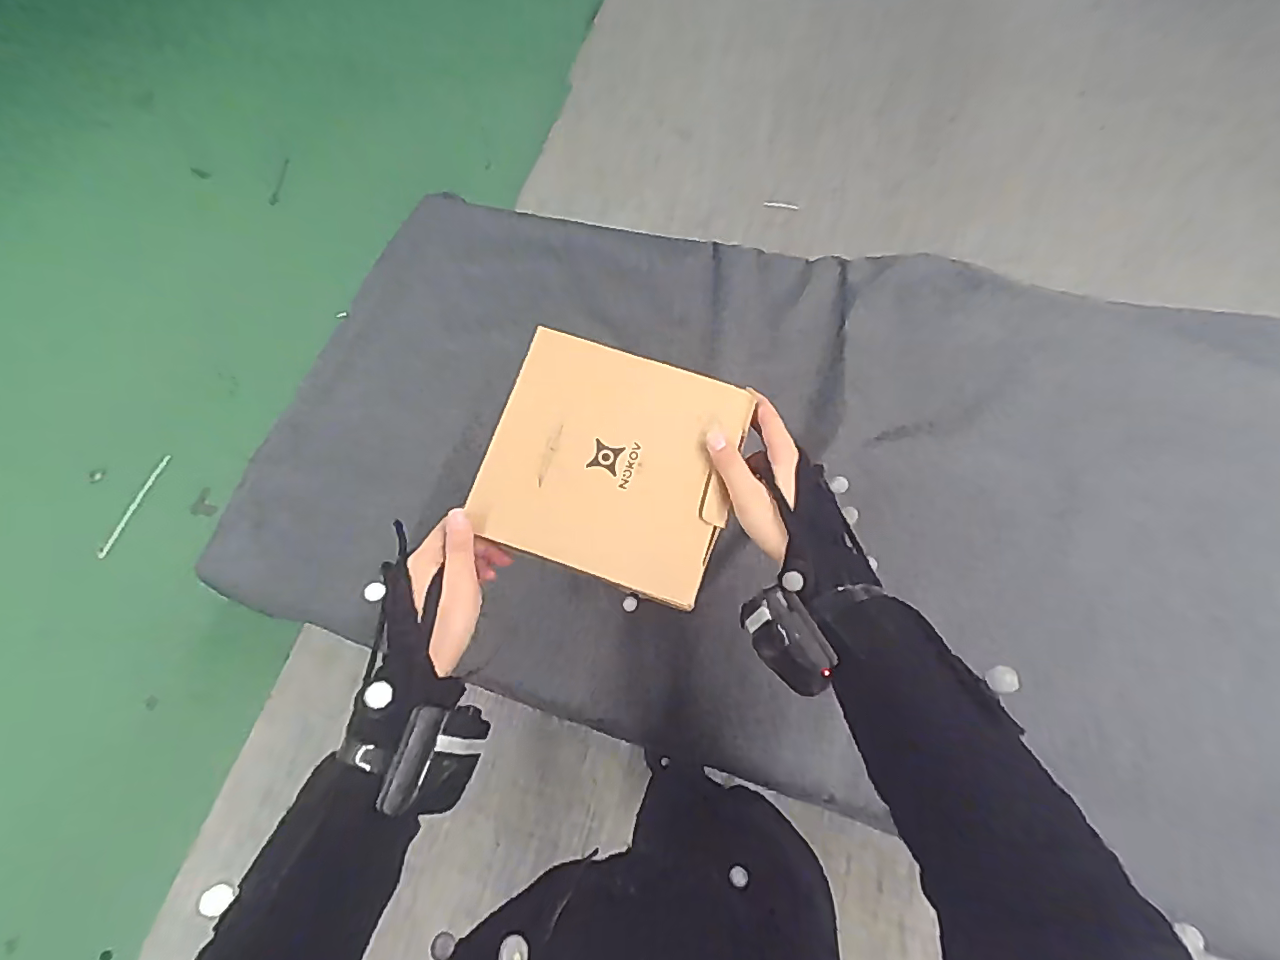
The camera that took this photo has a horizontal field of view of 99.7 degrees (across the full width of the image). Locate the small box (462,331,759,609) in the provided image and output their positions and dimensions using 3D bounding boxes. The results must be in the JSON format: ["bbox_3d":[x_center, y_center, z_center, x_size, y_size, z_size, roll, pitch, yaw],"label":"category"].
[{"bbox_3d":[-0.018,0.004,0.467,0.179,0.176,0.168,18,76,4],"label":"small box"}]
